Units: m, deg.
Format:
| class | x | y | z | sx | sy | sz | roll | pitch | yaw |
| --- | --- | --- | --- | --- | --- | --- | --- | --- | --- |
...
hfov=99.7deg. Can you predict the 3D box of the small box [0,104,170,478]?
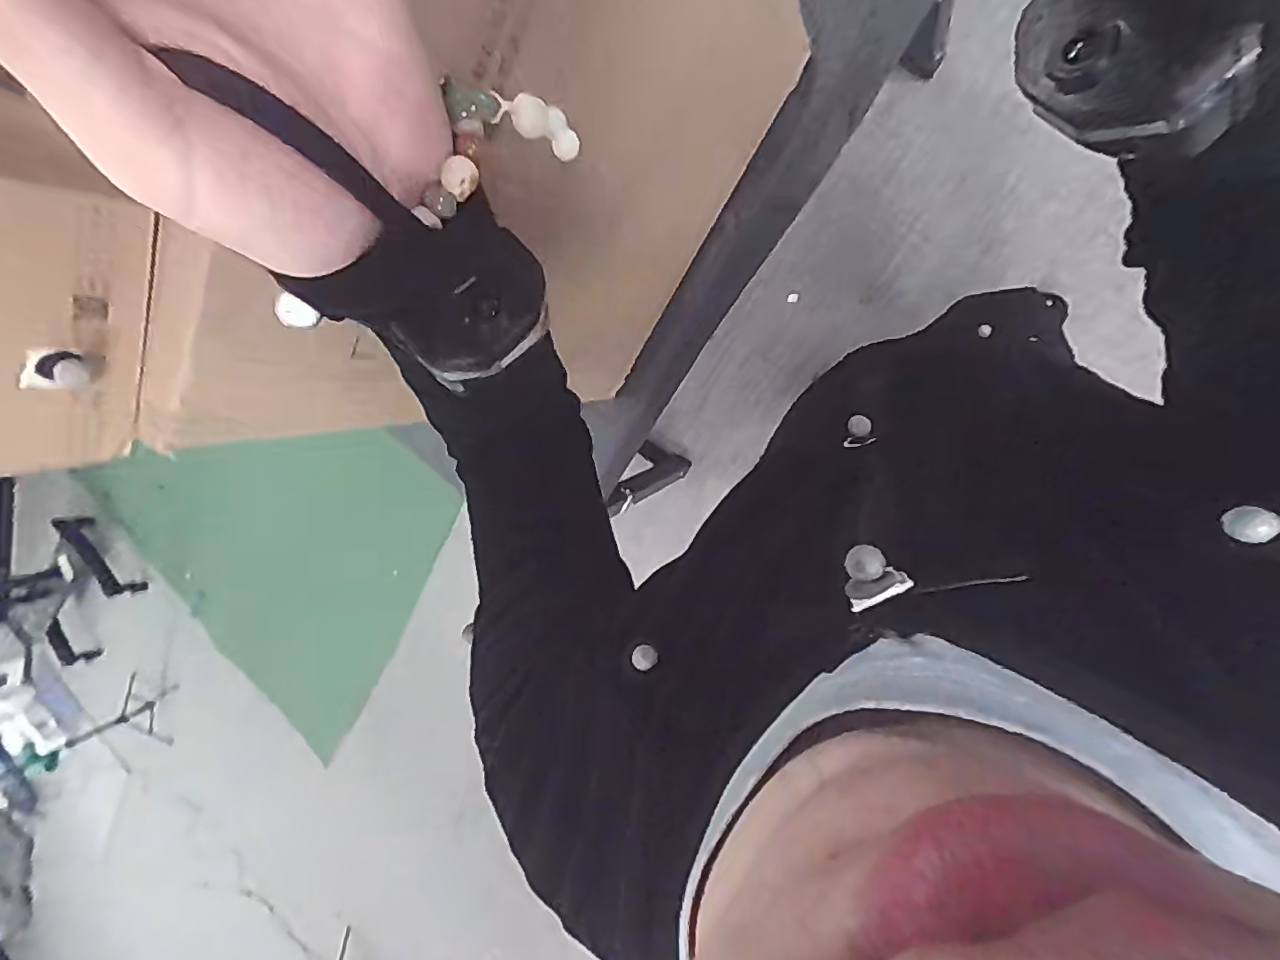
| class | x | y | z | sx | sy | sz | roll | pitch | yaw |
| --- | --- | --- | --- | --- | --- | --- | --- | --- | --- |
| small box | -0.383 | -0.102 | 0.266 | 0.179 | 0.176 | 0.168 | 33 | 115 | 14 |
